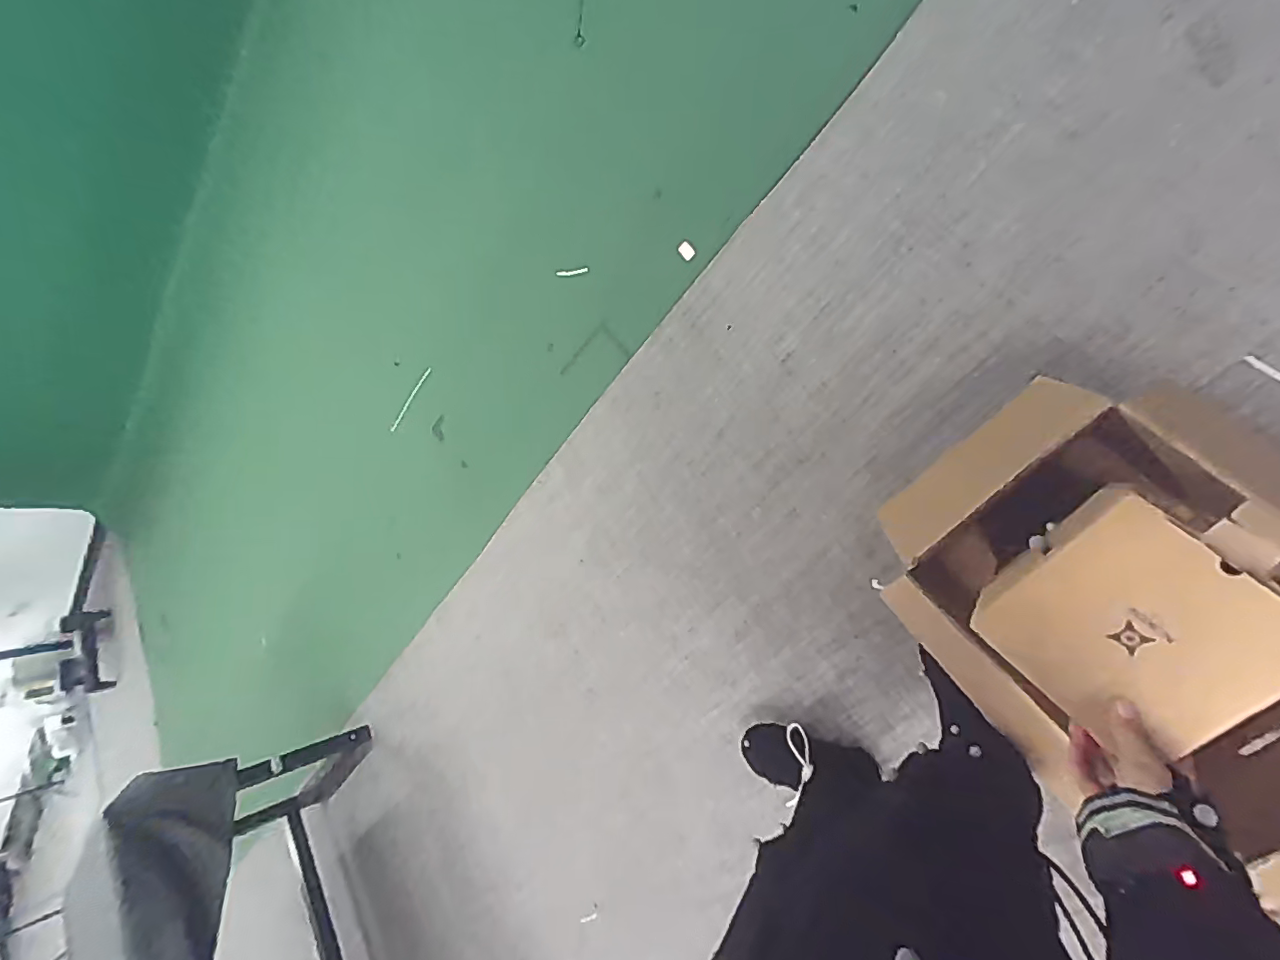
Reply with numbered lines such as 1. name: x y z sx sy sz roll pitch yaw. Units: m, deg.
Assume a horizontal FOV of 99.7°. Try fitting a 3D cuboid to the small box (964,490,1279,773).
1. small box: 0.450 0.128 0.511 0.168 0.176 0.179 47 113 26
